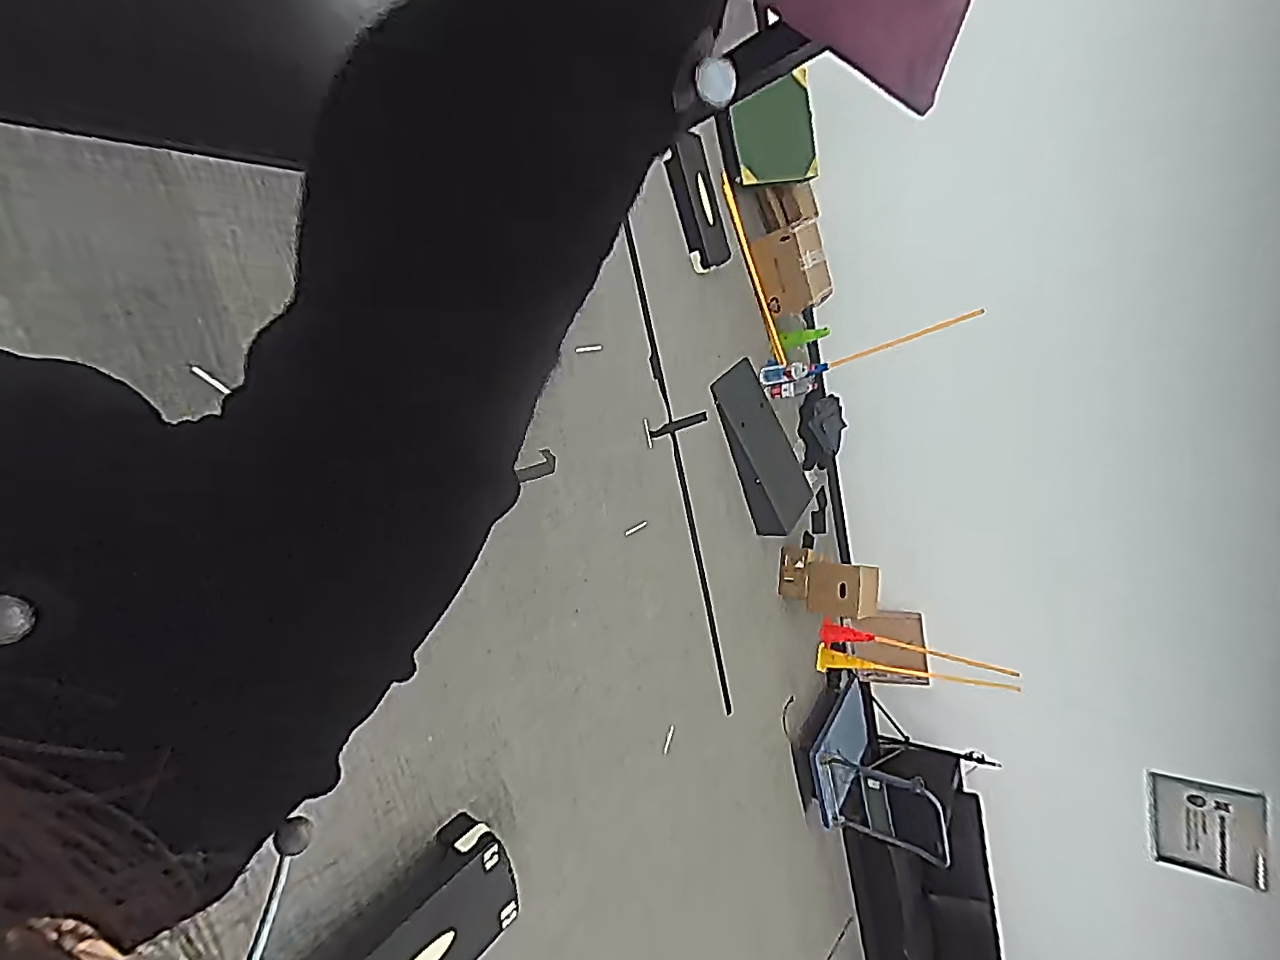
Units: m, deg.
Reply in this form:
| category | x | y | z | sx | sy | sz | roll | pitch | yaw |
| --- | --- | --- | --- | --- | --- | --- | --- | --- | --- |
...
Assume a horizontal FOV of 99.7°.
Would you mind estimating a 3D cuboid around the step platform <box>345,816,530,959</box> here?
| category | x | y | z | sx | sy | sz | roll | pitch | yaw |
| --- | --- | --- | --- | --- | --- | --- | --- | --- | --- |
| step platform | -0.608 | 1.236 | 1.424 | 0.684 | 0.204 | 0.286 | -16 | 99 | -51 |
